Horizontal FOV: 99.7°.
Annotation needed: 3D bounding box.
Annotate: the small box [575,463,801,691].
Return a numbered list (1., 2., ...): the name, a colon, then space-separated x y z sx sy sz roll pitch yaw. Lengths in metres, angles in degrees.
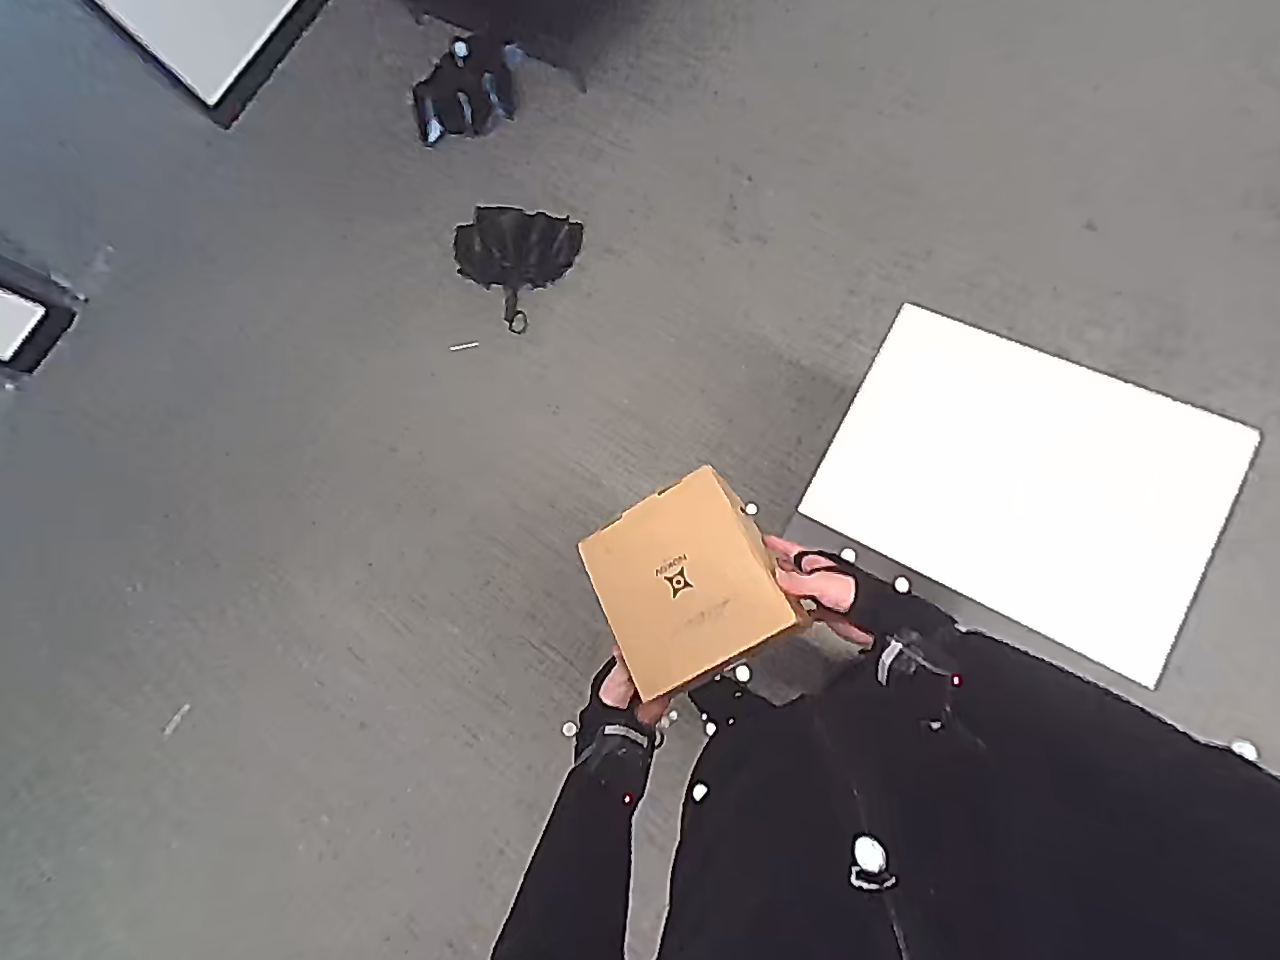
1. small box: 0.059 0.112 0.601 0.168 0.176 0.179 -31 66 12
